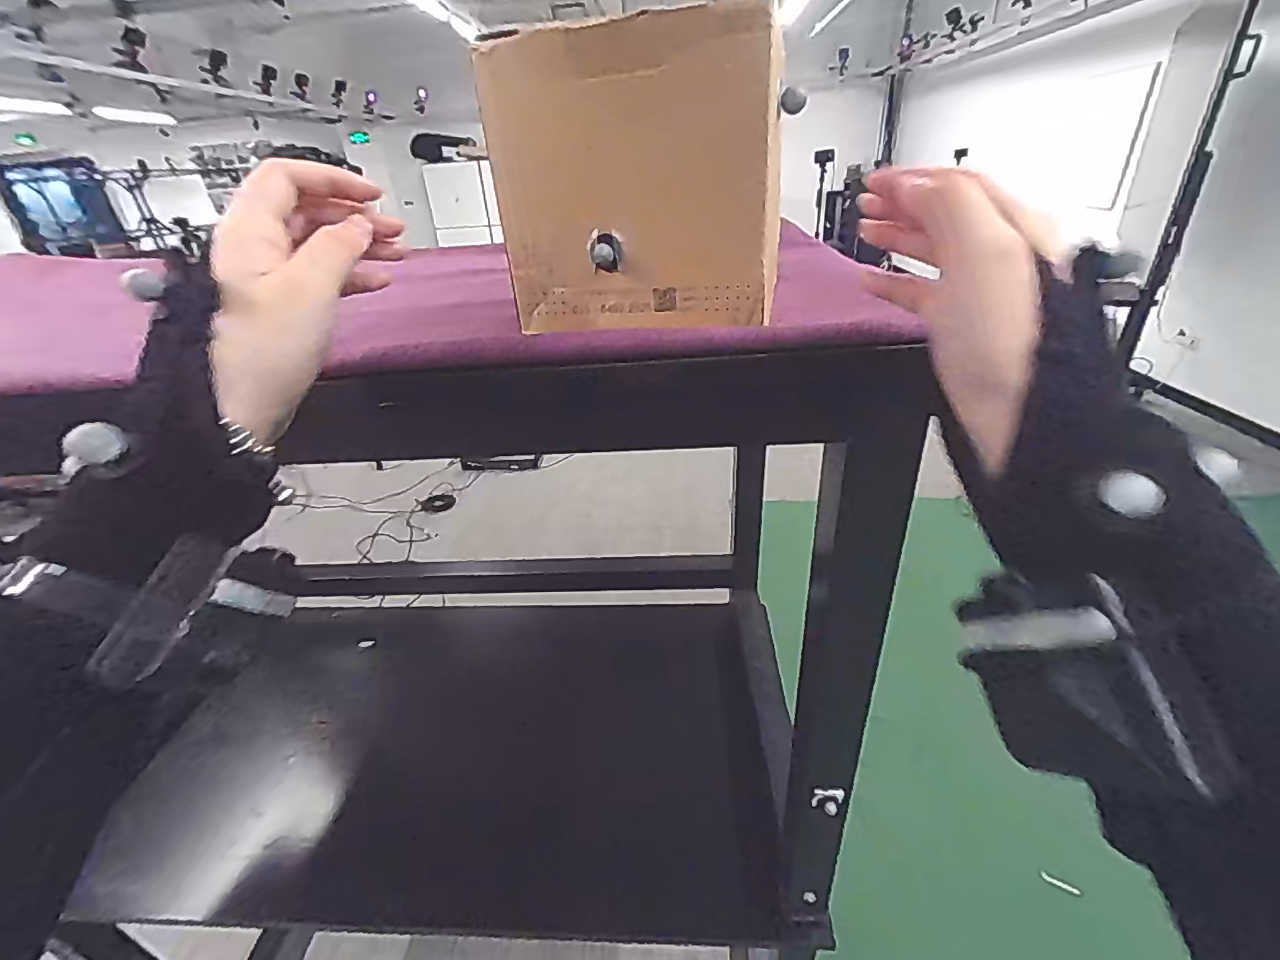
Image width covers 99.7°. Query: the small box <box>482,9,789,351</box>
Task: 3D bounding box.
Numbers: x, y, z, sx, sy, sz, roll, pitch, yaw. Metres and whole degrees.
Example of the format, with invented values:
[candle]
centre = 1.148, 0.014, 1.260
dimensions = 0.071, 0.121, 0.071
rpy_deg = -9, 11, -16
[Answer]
[small box]
centre = 0.015, -0.200, 0.385
dimensions = 0.168, 0.176, 0.179
rpy_deg = 3, 32, 14
